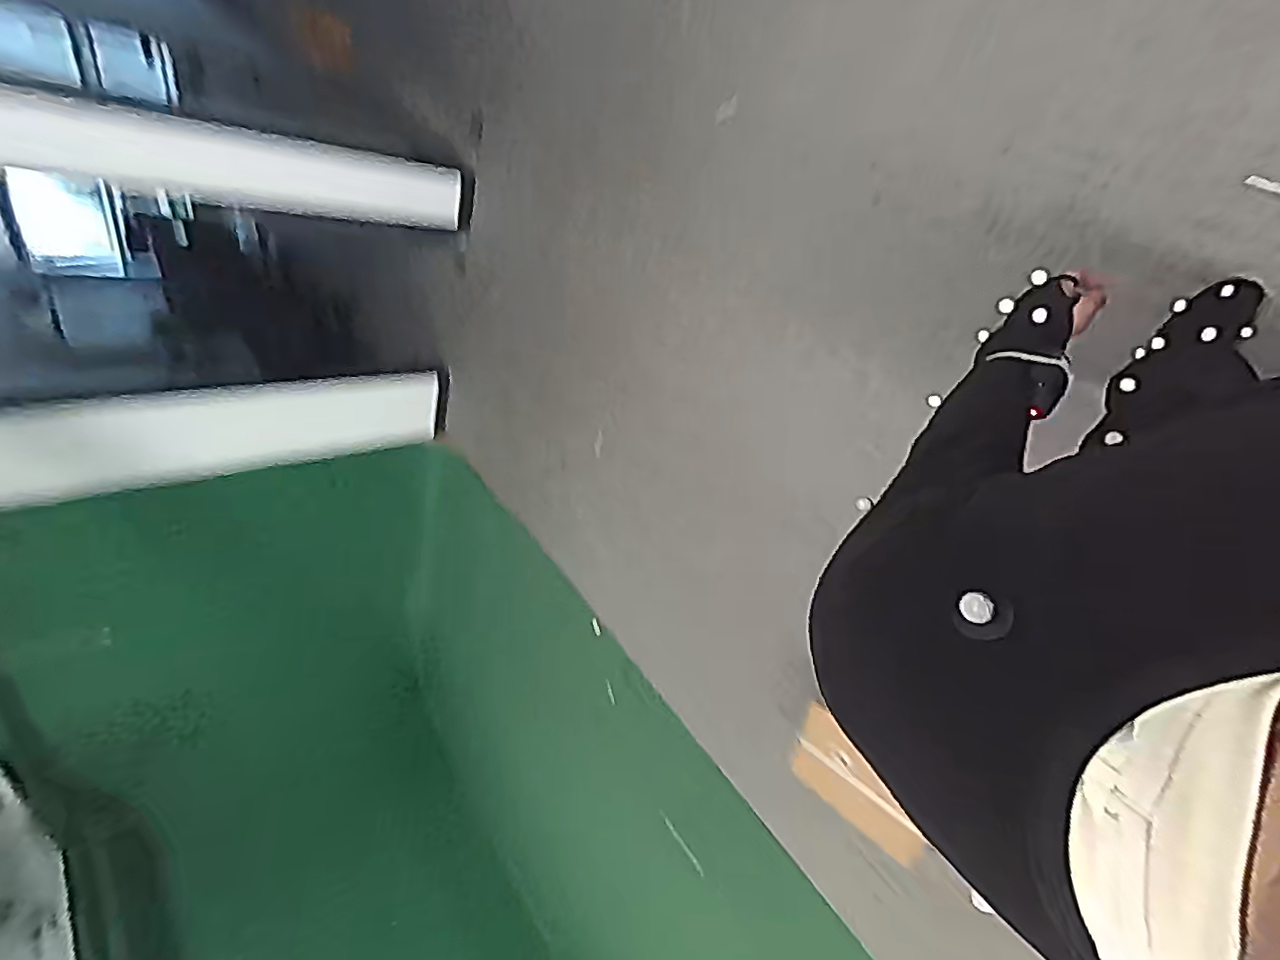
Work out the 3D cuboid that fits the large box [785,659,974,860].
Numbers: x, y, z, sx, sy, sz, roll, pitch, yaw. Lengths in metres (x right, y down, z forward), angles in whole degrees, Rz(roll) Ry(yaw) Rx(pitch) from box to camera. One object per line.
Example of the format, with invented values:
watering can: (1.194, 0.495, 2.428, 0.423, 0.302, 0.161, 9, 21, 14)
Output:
large box: (0.742, 0.851, 1.700, 0.408, 0.320, 0.320, 31, 122, 38)
